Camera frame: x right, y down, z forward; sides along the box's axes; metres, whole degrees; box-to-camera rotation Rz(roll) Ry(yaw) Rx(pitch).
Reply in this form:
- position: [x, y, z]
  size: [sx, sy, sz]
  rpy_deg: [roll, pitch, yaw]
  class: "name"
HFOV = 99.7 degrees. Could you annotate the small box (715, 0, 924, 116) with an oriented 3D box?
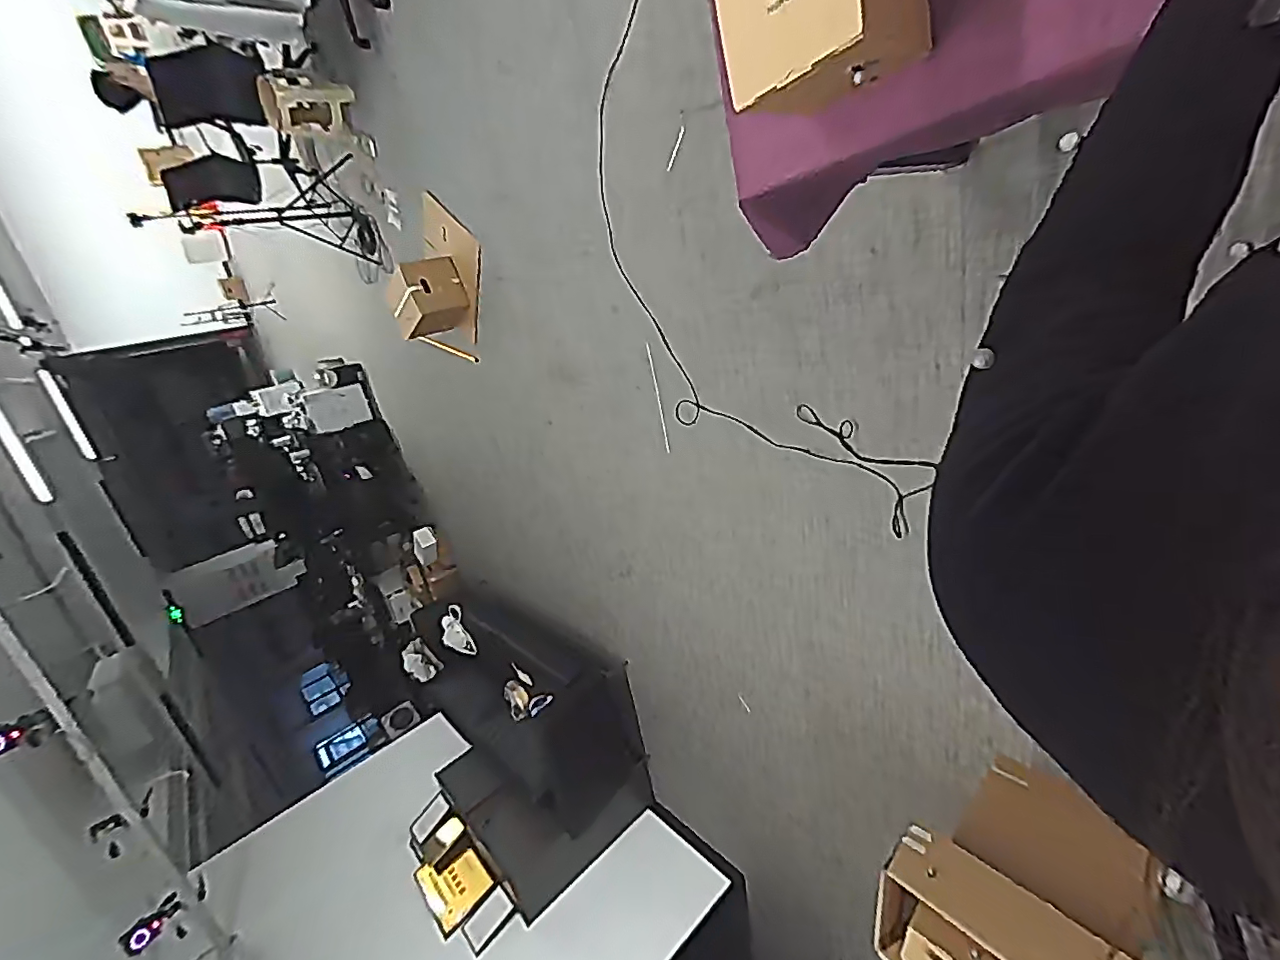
- position: [0.206, -0.547, 0.619]
  size: [0.168, 0.176, 0.179]
  rpy_deg: [5, 114, 49]
  class: "small box"
